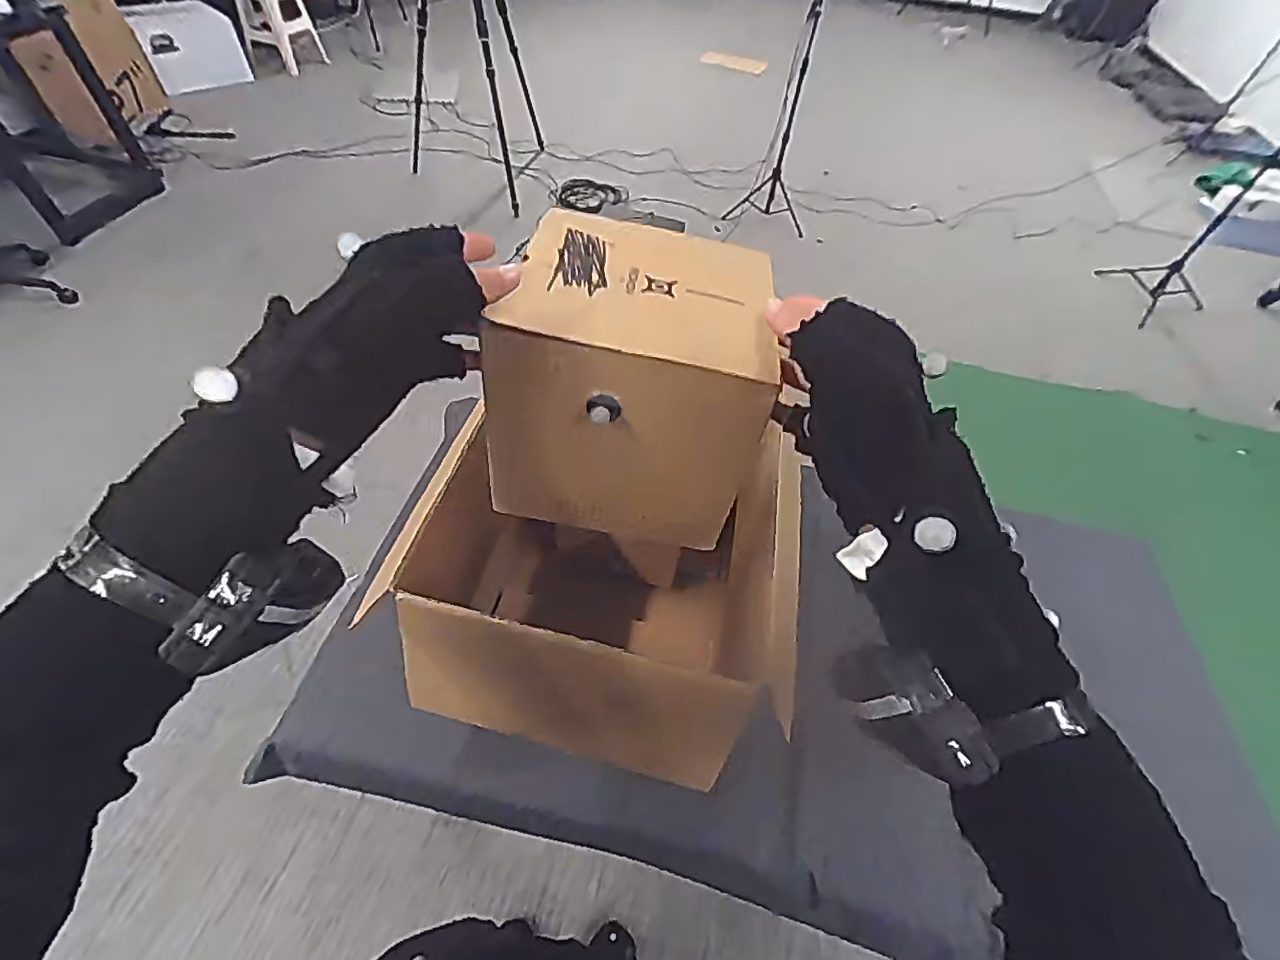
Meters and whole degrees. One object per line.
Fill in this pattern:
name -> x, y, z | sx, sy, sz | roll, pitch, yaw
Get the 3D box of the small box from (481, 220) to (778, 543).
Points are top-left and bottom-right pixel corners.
small box -> -0.007, -0.071, 0.419 | 0.179, 0.176, 0.168 | 11, 47, -2
